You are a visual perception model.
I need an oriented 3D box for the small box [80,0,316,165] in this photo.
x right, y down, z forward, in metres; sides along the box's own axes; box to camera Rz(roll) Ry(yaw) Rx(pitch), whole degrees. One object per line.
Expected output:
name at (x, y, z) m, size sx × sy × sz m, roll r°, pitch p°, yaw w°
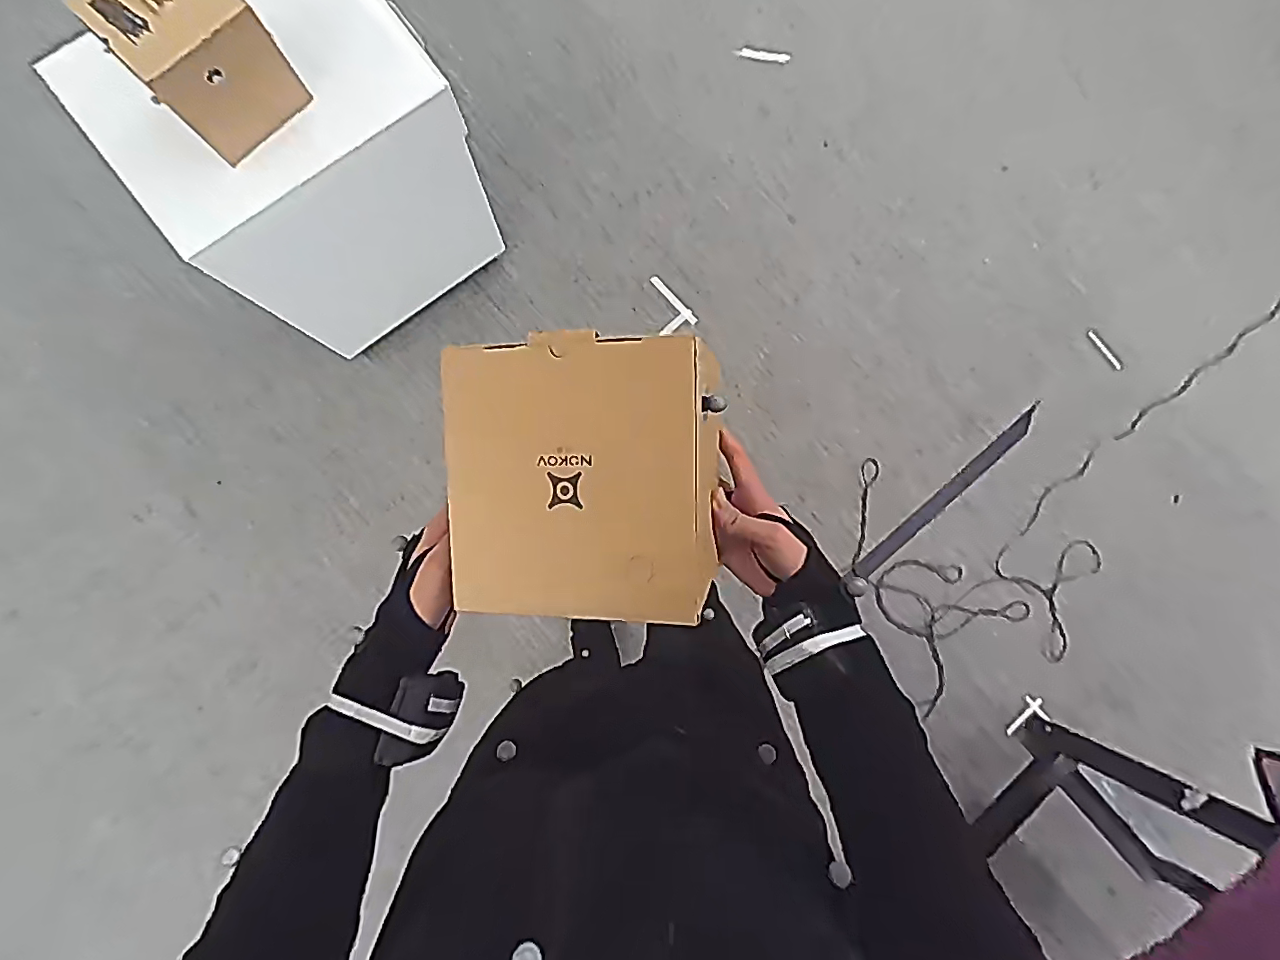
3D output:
small box at (-0.636, -0.623, 0.806) m, size 0.179 × 0.176 × 0.168 m, roll -45°, pitch 90°, yaw -6°

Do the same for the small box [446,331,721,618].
small box at (-0.027, -0.010, 0.418) m, size 0.168 × 0.176 × 0.179 m, roll 0°, pitch 95°, yaw 13°
